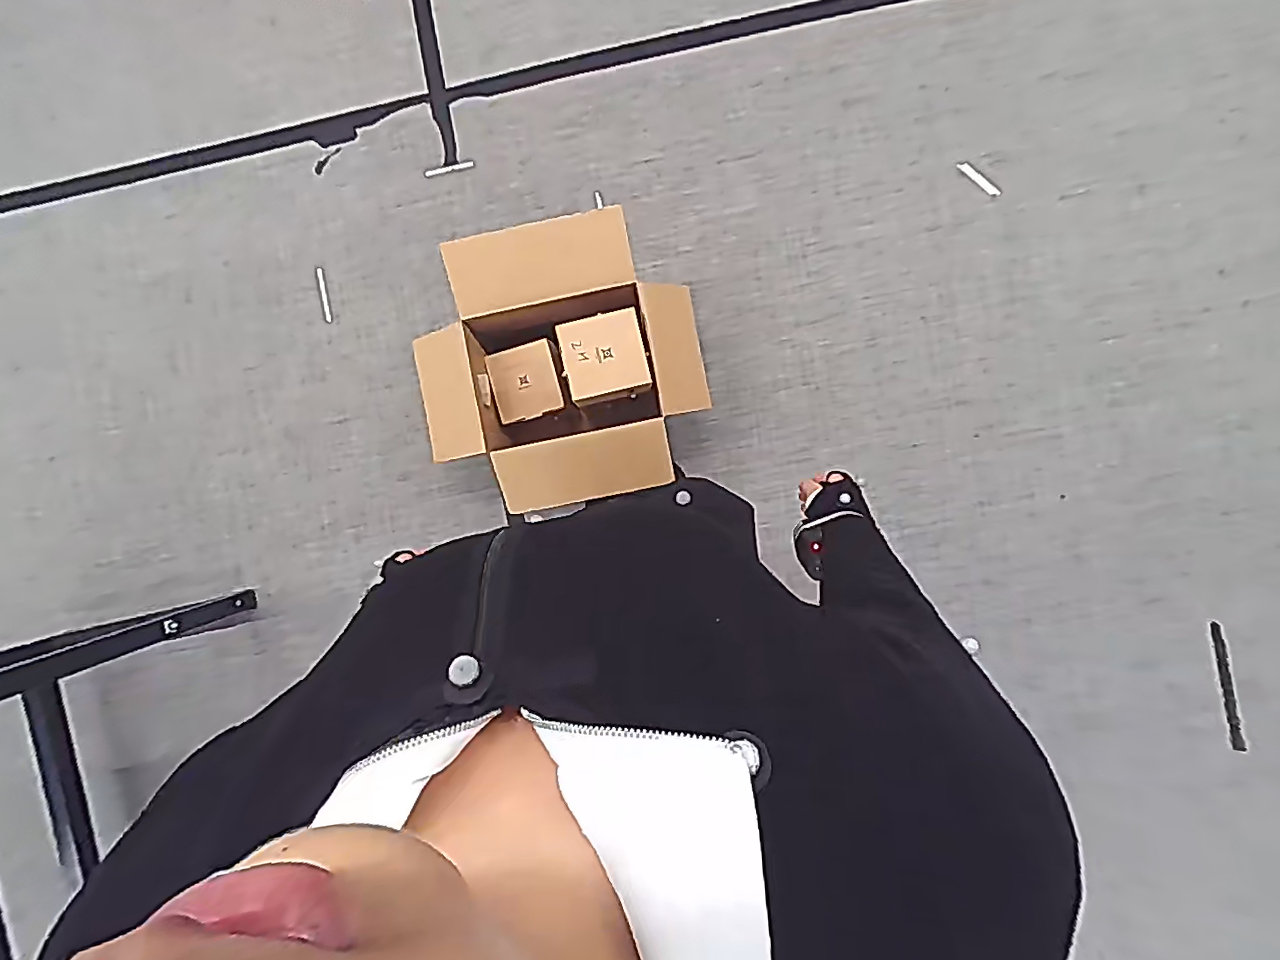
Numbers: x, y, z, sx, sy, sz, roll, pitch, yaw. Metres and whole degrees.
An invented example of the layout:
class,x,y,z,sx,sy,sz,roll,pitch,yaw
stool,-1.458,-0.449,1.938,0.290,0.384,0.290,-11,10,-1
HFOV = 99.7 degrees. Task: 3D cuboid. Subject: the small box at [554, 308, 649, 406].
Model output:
class,x,y,z,sx,sy,sz,roll,pitch,yaw
small box,-0.083,-0.272,1.229,0.179,0.176,0.168,-13,91,1
